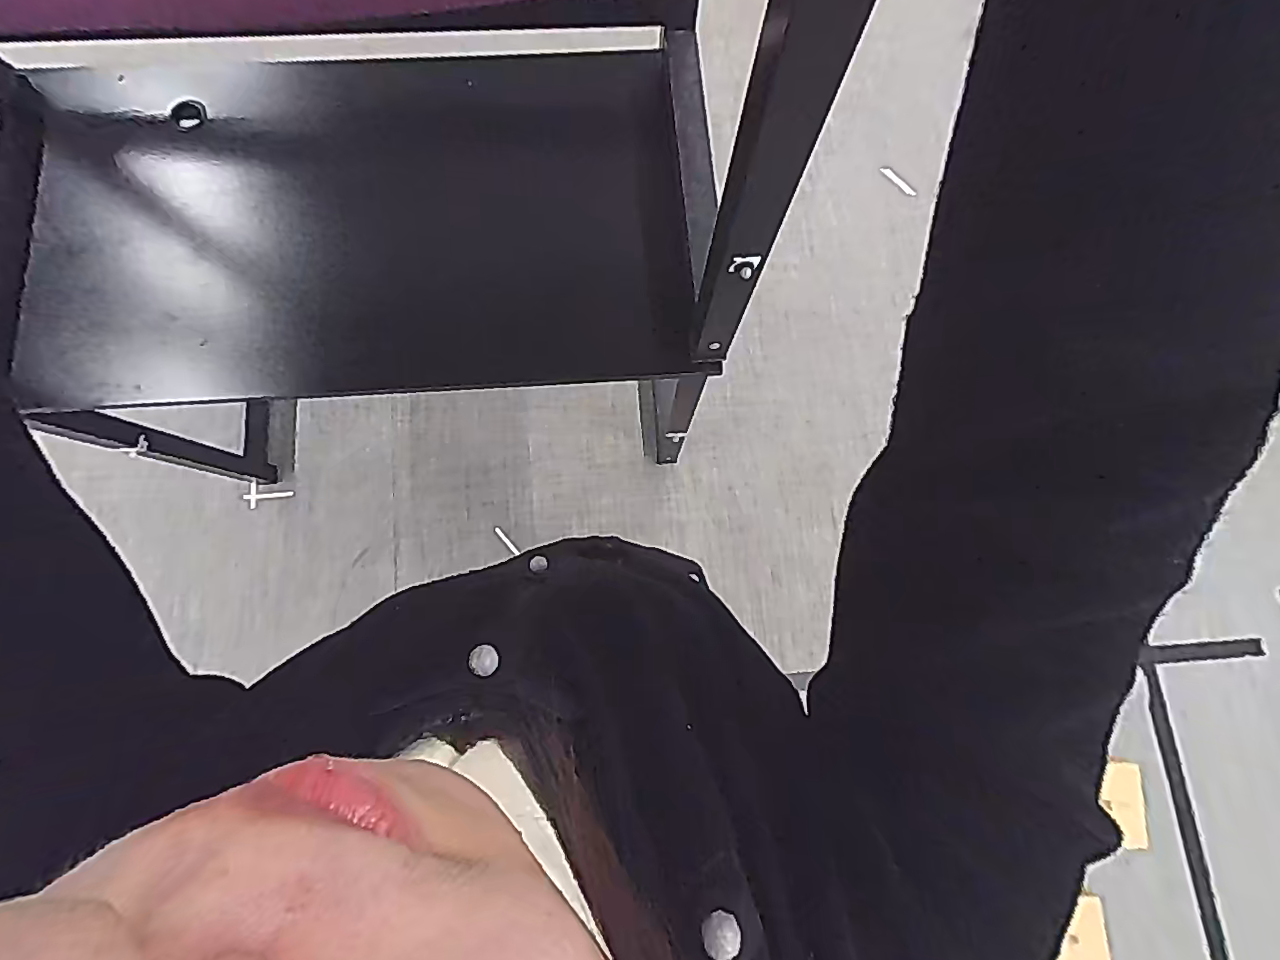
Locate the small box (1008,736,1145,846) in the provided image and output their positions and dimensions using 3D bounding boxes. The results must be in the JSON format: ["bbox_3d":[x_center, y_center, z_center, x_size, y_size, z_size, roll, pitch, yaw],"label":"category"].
[{"bbox_3d":[0.953,0.682,1.202,0.179,0.176,0.168,3,81,-2],"label":"small box"}]
